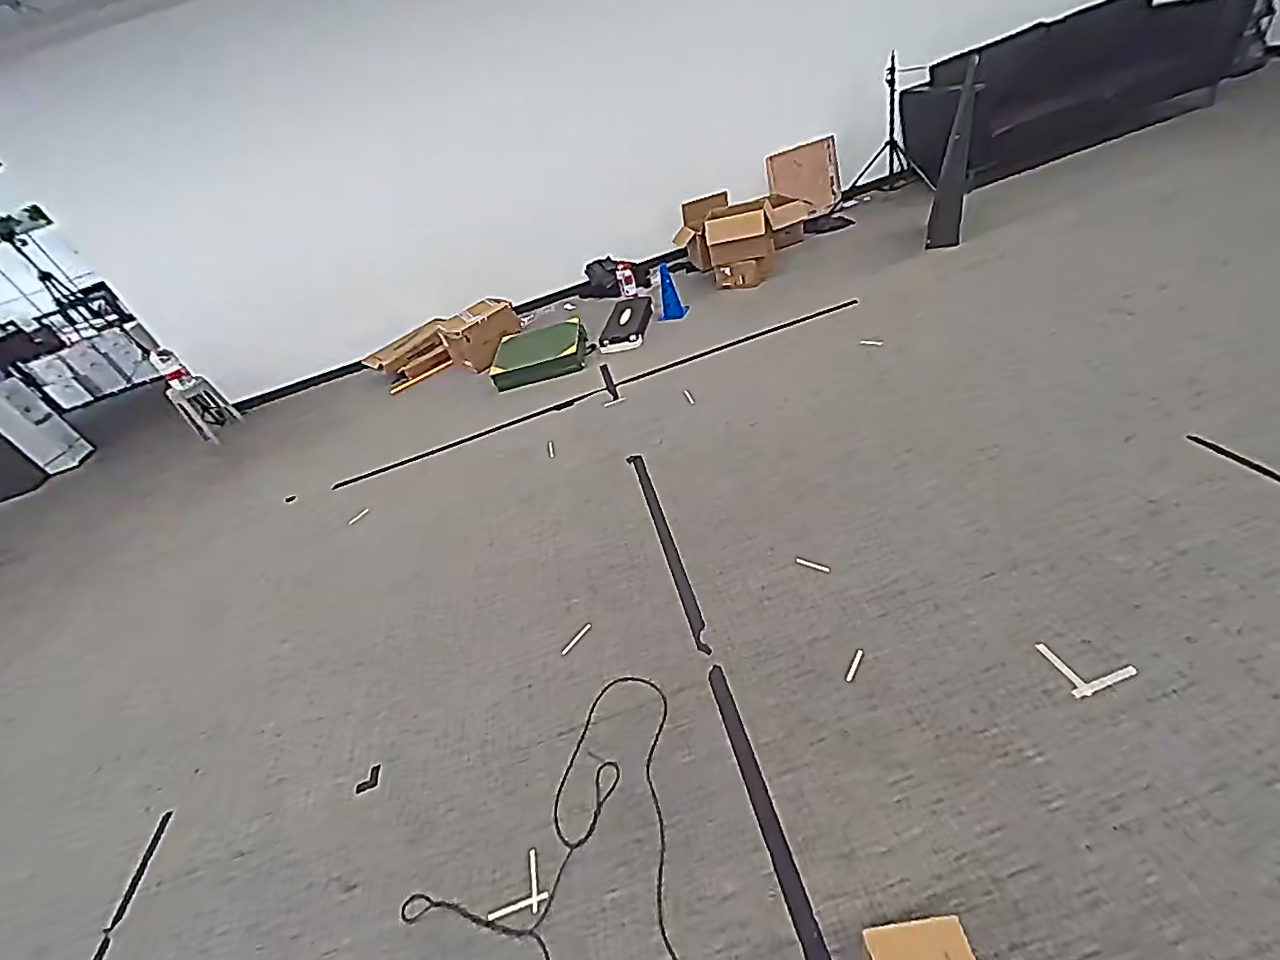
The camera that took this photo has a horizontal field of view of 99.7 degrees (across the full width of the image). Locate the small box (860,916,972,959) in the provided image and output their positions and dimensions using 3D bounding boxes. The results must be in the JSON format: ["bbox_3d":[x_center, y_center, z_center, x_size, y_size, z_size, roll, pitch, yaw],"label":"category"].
[{"bbox_3d":[0.522,0.935,0.989,0.179,0.176,0.168,-14,37,6],"label":"small box"}]
